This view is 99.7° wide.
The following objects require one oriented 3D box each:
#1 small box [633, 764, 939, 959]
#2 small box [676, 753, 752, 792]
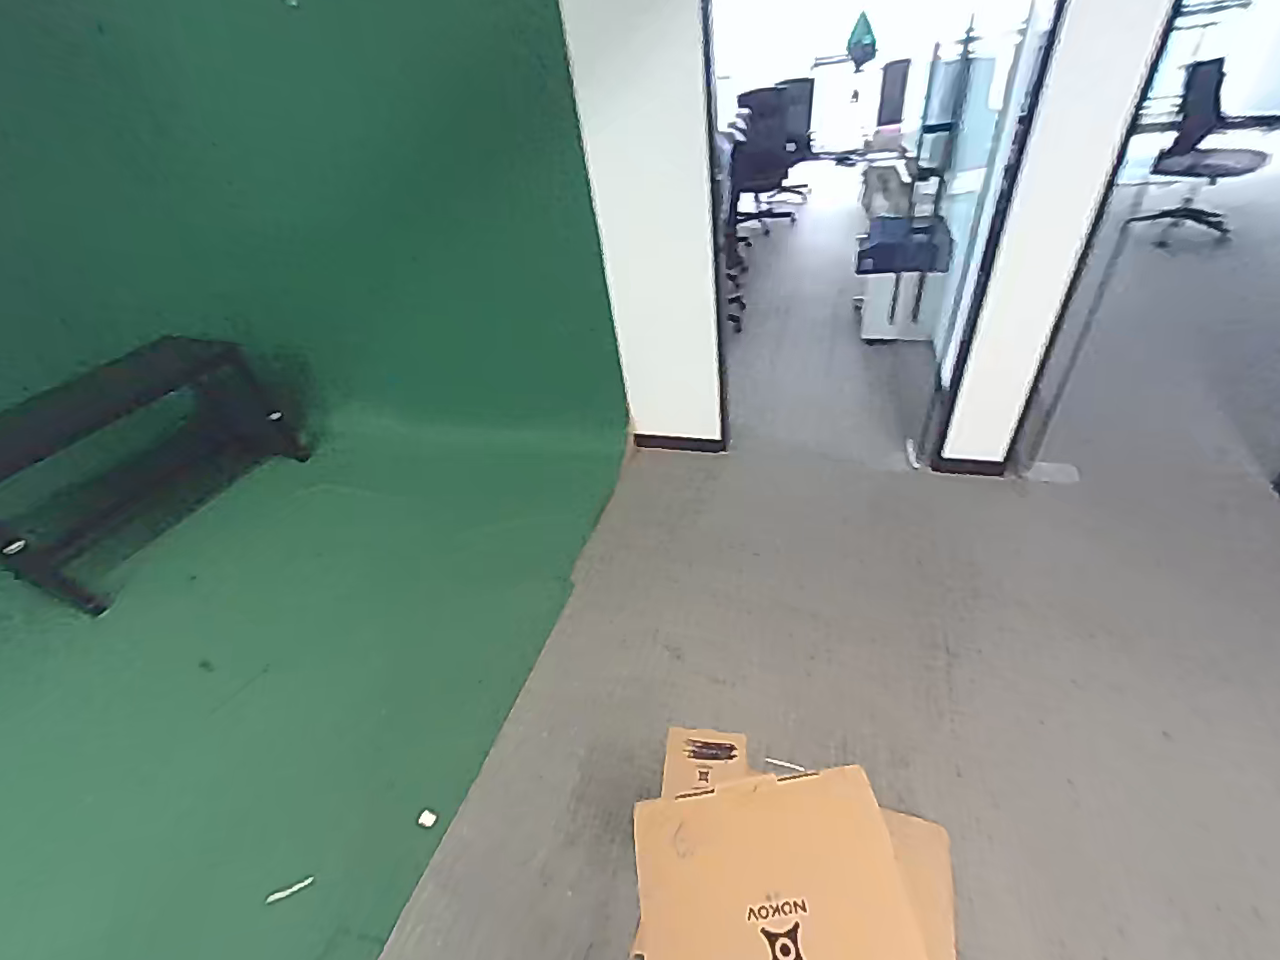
[{"bbox_3d":[0.094,0.324,0.362,0.168,0.176,0.179,-11,41,2],"label":"small box"},{"bbox_3d":[0.170,0.764,1.242,0.168,0.176,0.179,3,40,14],"label":"small box"}]
